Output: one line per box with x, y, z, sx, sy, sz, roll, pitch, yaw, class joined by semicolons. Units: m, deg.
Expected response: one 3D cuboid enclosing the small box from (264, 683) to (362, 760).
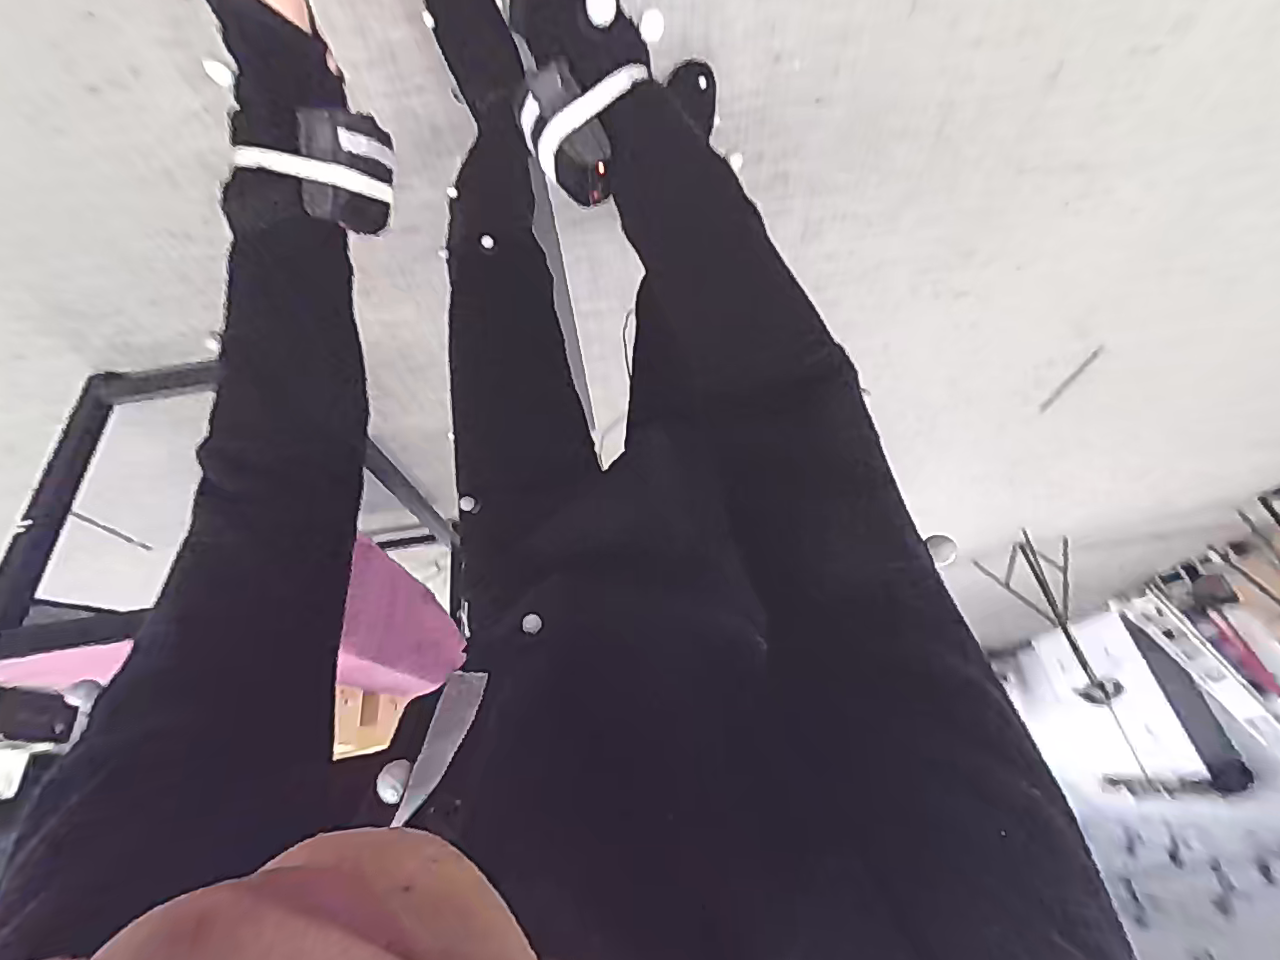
-0.932;0.698;1.560;0.179;0.176;0.168;-11;151;2;small box
